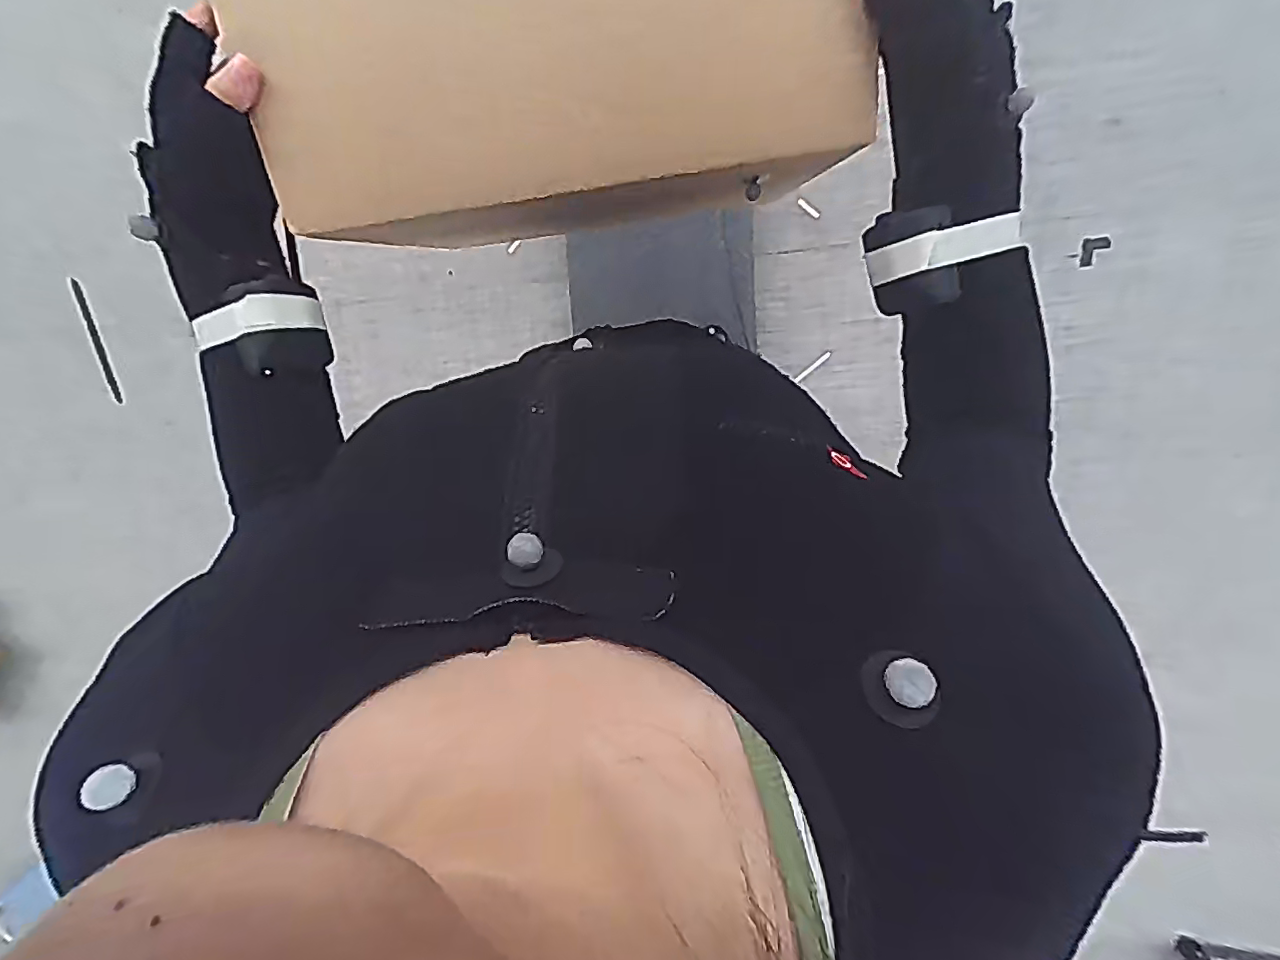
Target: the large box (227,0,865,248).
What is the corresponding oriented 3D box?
[{"bbox_3d":[-0.063,-0.395,0.461,0.408,0.320,0.320,-7,110,4],"label":"large box"}]
